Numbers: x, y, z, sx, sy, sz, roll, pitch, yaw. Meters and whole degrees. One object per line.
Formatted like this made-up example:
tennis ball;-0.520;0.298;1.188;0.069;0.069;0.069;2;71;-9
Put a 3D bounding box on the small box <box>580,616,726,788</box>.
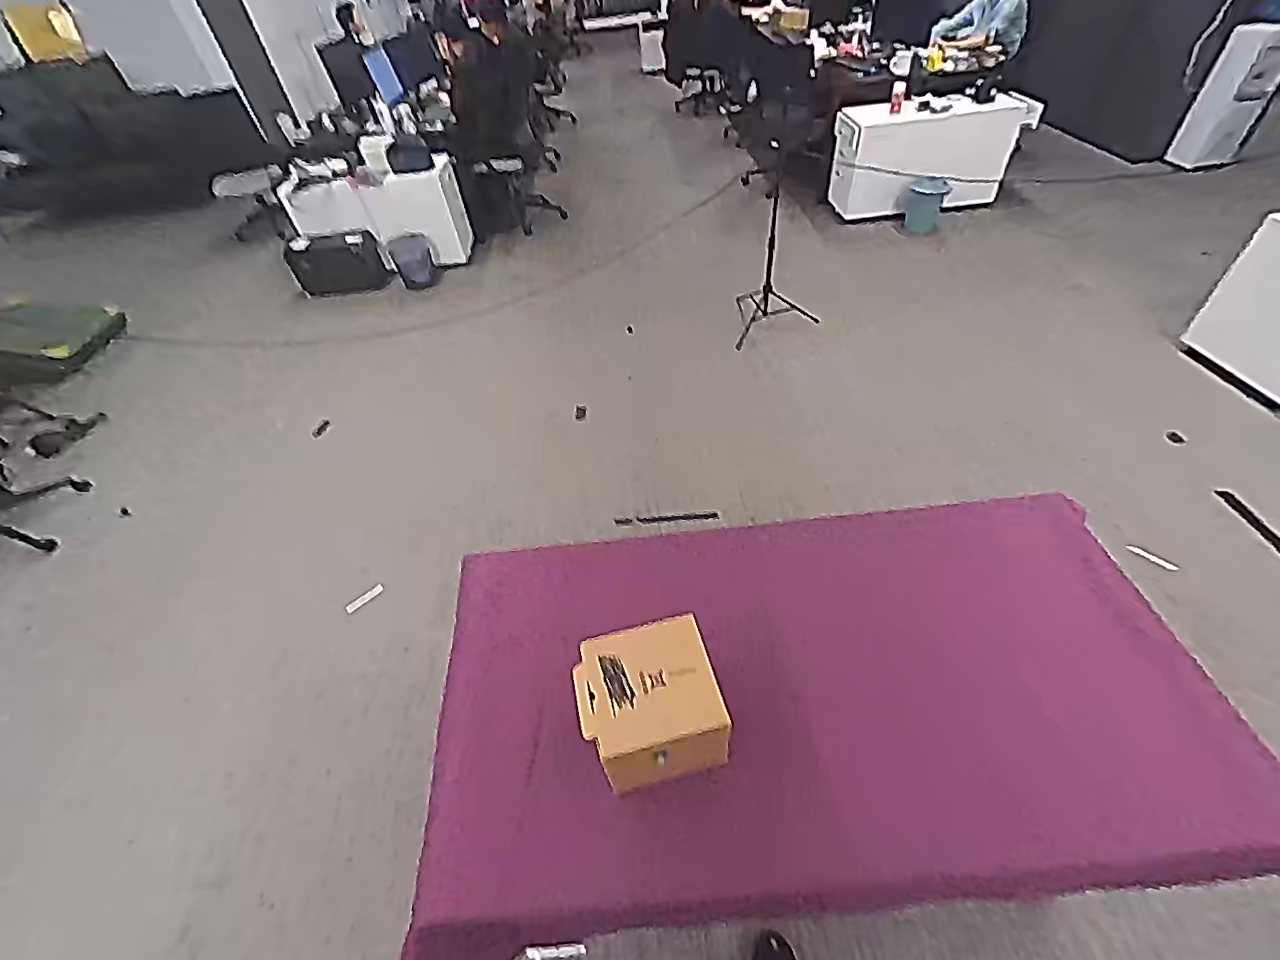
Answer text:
small box;0.018;0.333;0.804;0.179;0.176;0.168;-12;47;-7
